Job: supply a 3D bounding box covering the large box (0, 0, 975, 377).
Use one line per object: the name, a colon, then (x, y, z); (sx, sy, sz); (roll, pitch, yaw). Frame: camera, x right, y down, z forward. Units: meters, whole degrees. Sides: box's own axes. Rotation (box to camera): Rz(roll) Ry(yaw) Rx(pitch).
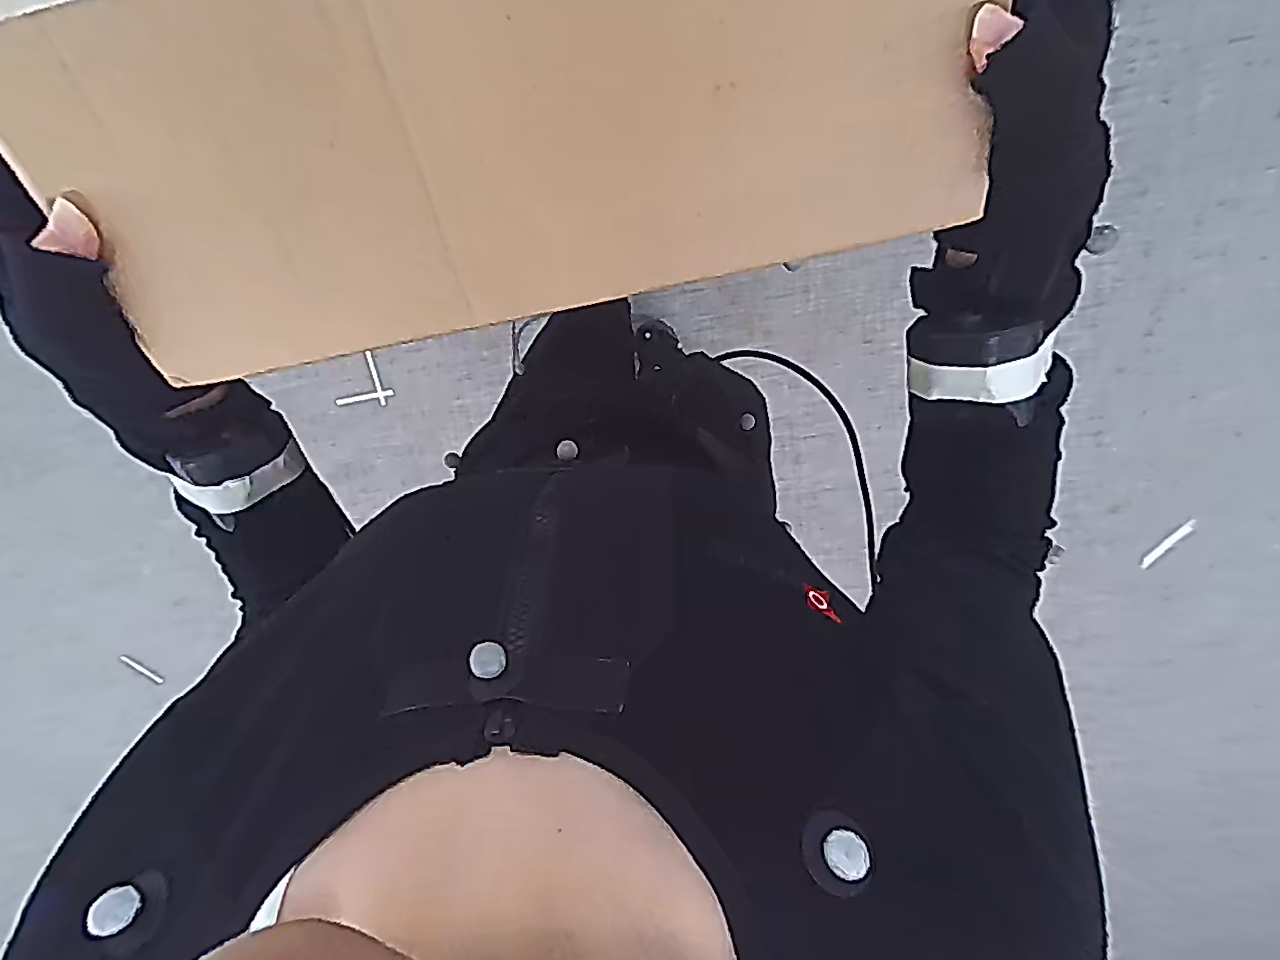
large box: (-0.077, -0.297, 0.320); (0.408, 0.320, 0.320); (-10, 120, 6)
